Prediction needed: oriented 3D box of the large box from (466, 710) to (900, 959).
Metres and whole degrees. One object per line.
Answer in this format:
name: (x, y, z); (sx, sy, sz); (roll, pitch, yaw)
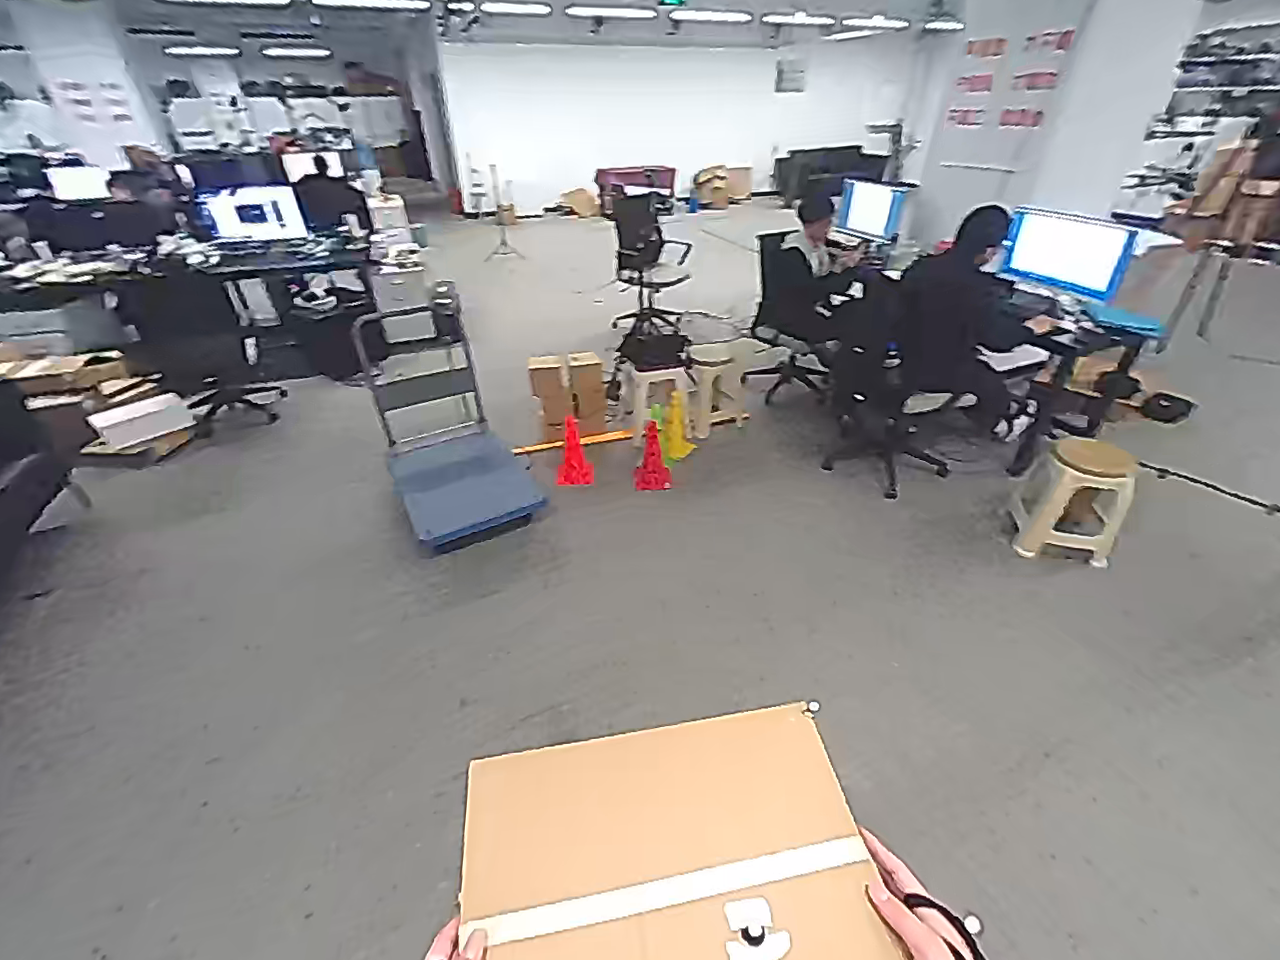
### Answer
large box: (0.029, 0.524, 0.633); (0.408, 0.320, 0.320); (-7, 43, -8)
